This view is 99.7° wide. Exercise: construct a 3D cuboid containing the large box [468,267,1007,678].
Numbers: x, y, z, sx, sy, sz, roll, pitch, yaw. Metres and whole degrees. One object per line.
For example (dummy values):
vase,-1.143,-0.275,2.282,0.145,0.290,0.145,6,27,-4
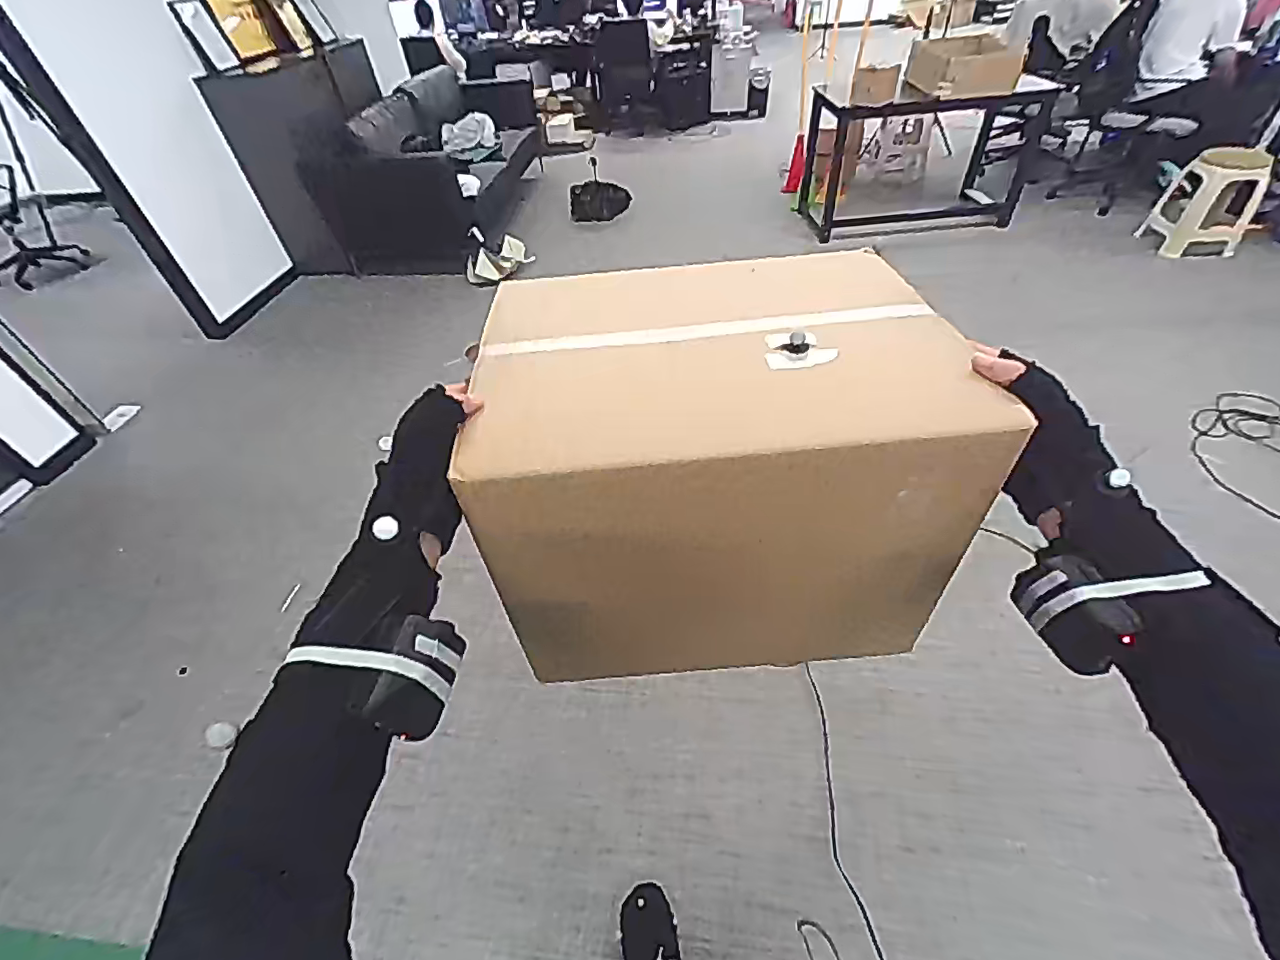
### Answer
large box,0.068,-0.011,0.596,0.408,0.320,0.320,-5,44,-1
